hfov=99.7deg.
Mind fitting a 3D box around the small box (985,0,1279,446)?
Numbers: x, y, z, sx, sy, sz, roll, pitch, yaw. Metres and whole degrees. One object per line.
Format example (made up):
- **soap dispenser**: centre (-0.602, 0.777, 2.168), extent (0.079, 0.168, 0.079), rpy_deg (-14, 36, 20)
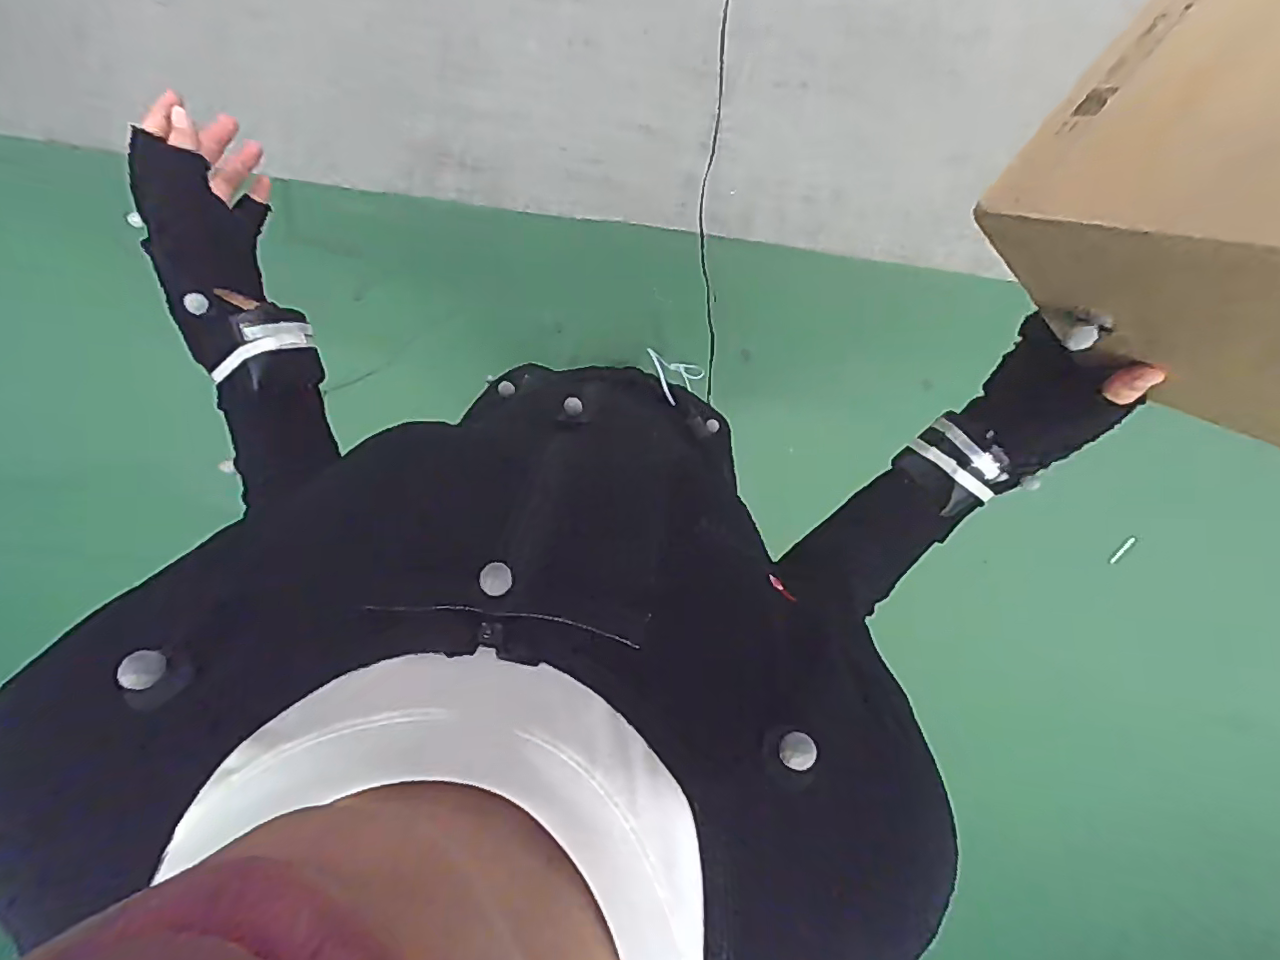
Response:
- **small box**: centre (0.310, -0.129, 0.243), extent (0.179, 0.176, 0.168), rpy_deg (29, 109, -30)
